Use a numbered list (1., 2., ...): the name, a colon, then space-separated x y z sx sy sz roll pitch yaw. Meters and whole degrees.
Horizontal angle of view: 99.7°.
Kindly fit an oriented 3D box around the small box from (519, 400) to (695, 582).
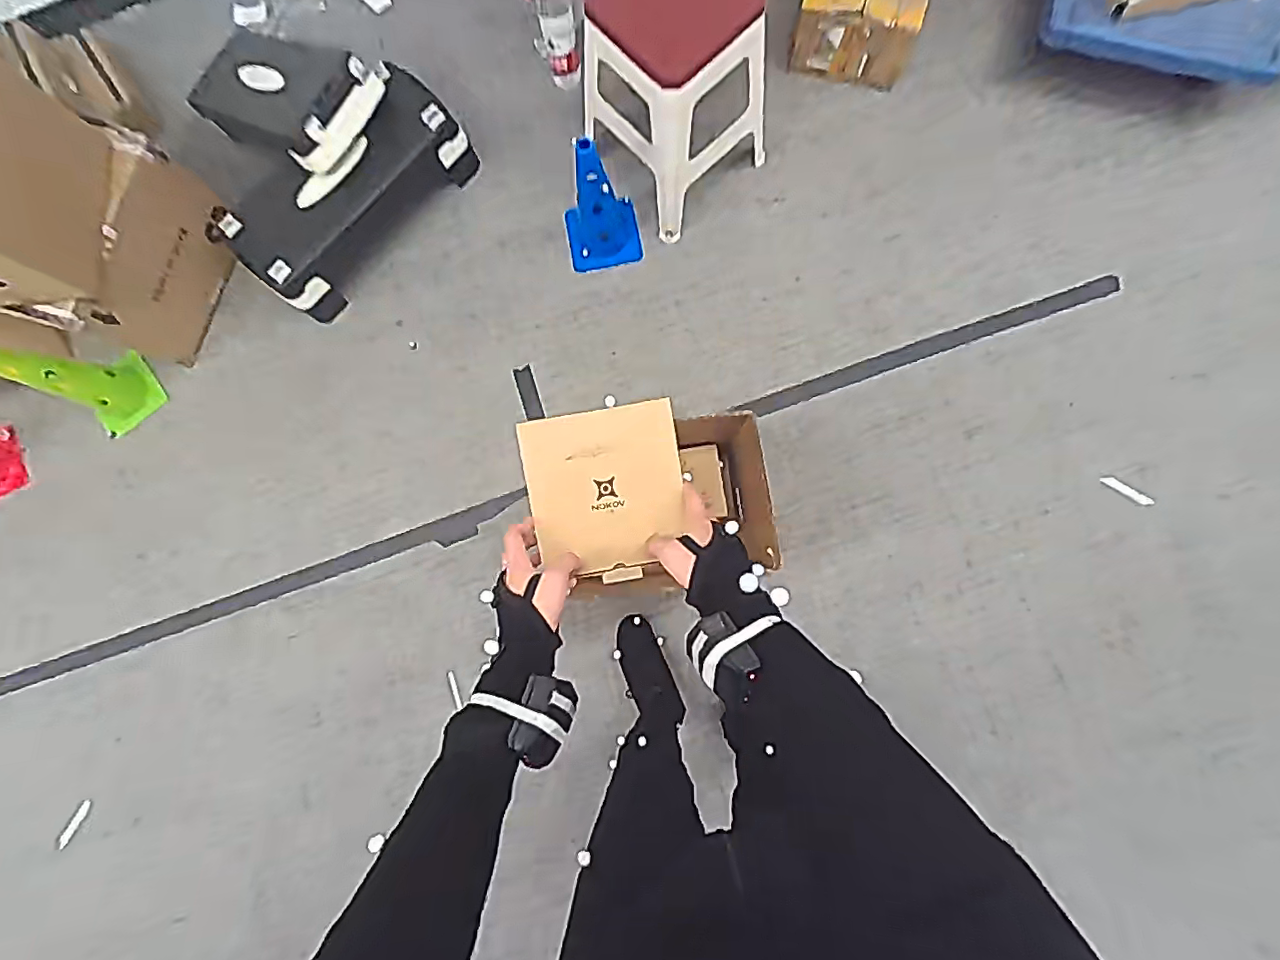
1. small box: -0.034 0.003 0.641 0.168 0.176 0.179 -9 96 -1
